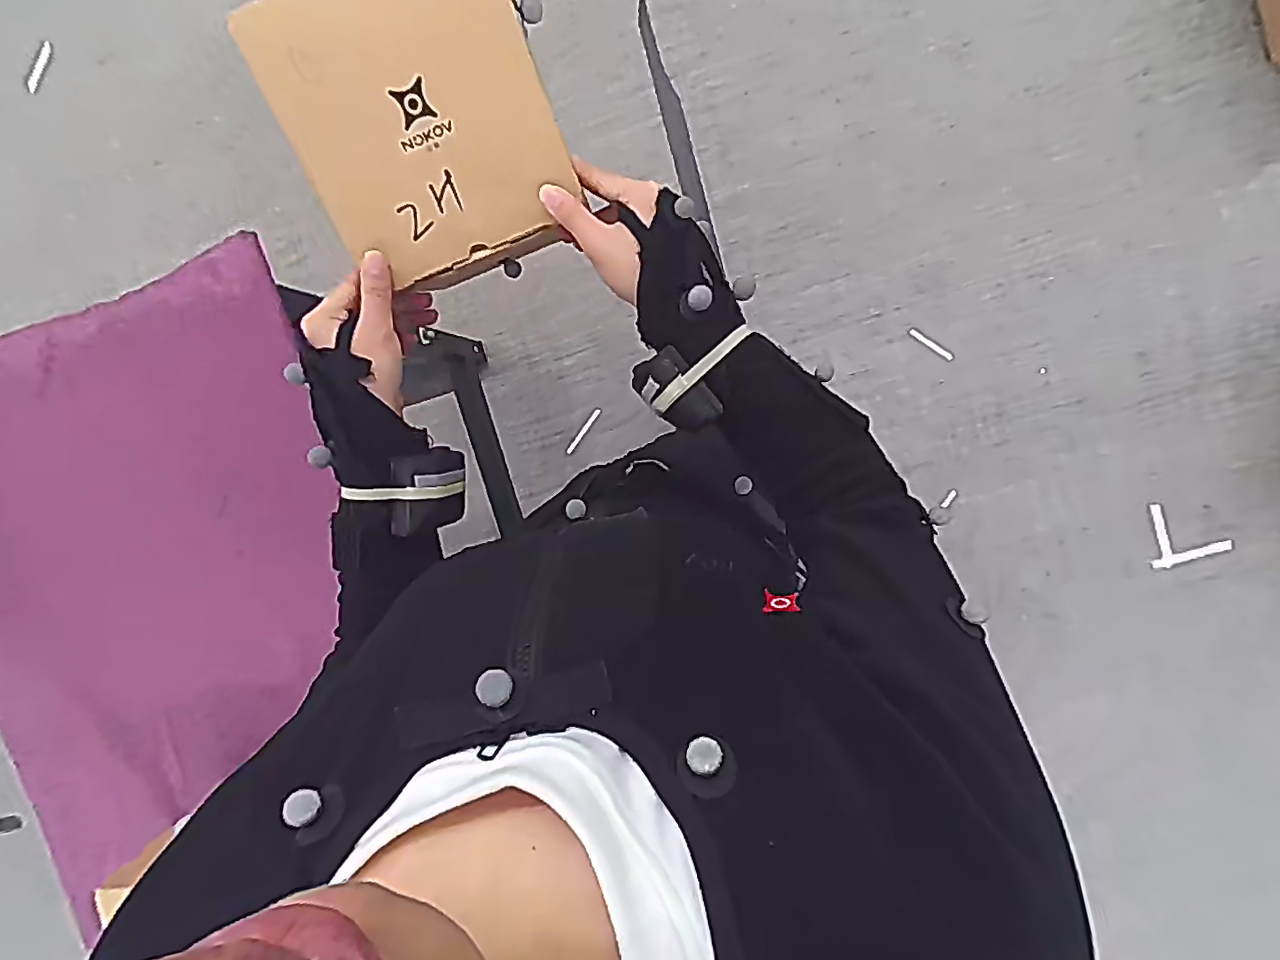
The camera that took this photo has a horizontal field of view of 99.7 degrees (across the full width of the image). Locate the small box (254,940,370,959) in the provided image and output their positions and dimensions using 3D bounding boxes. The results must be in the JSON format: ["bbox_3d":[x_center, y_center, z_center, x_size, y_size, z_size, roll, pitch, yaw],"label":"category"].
[{"bbox_3d":[-0.457,0.739,0.693,0.179,0.176,0.168,-10,96,6],"label":"small box"}]

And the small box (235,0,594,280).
[{"bbox_3d":[-0.142,-0.267,0.418,0.168,0.176,0.179,-20,111,5],"label":"small box"}]
